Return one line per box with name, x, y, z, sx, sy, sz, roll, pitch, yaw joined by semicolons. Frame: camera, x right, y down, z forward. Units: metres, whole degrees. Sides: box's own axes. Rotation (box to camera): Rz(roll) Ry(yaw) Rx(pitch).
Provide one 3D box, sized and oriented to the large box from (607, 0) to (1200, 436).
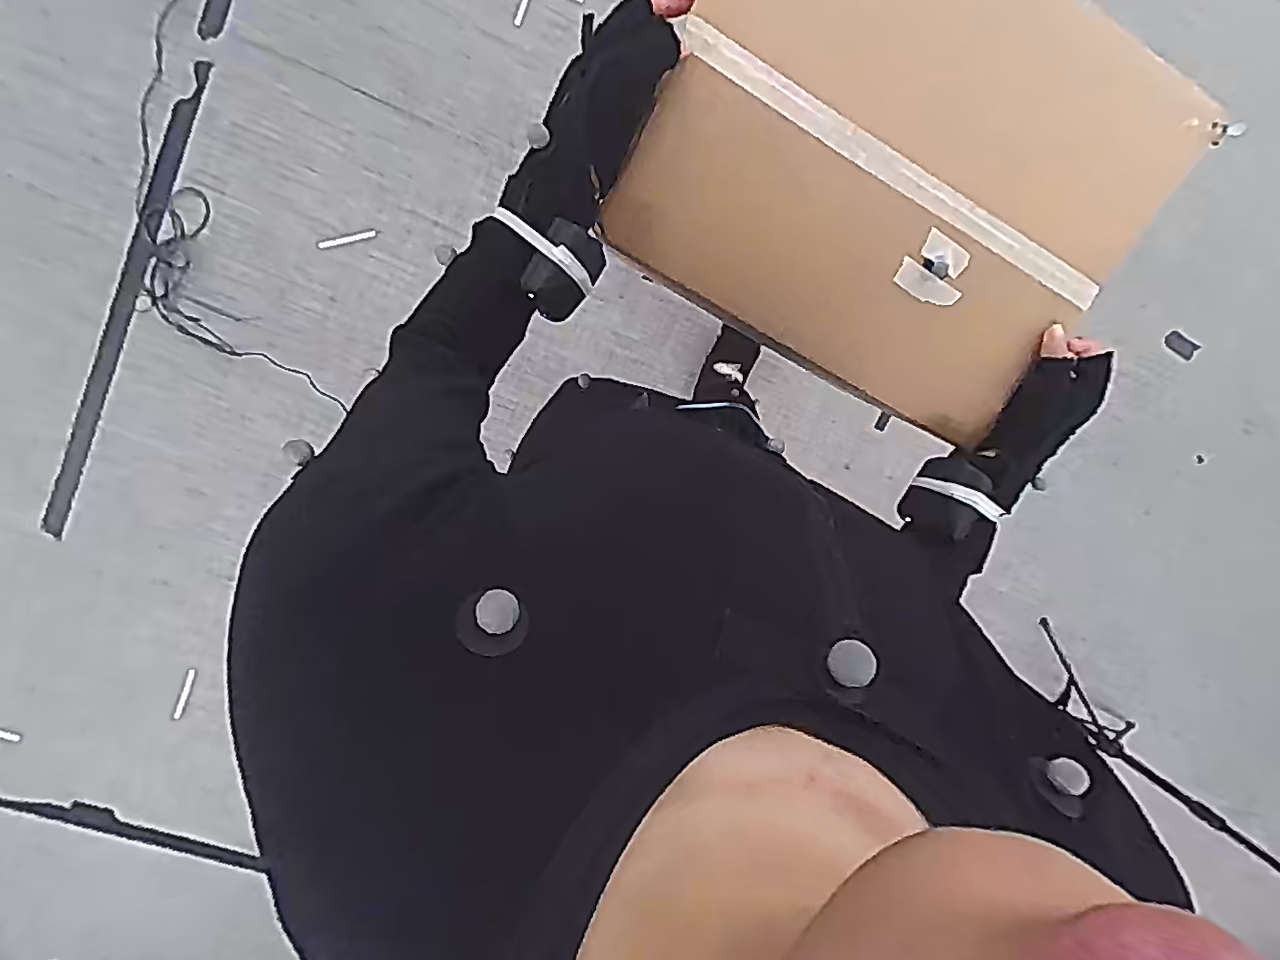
large box;0.209;-0.303;0.589;0.408;0.320;0.320;27;108;-11
